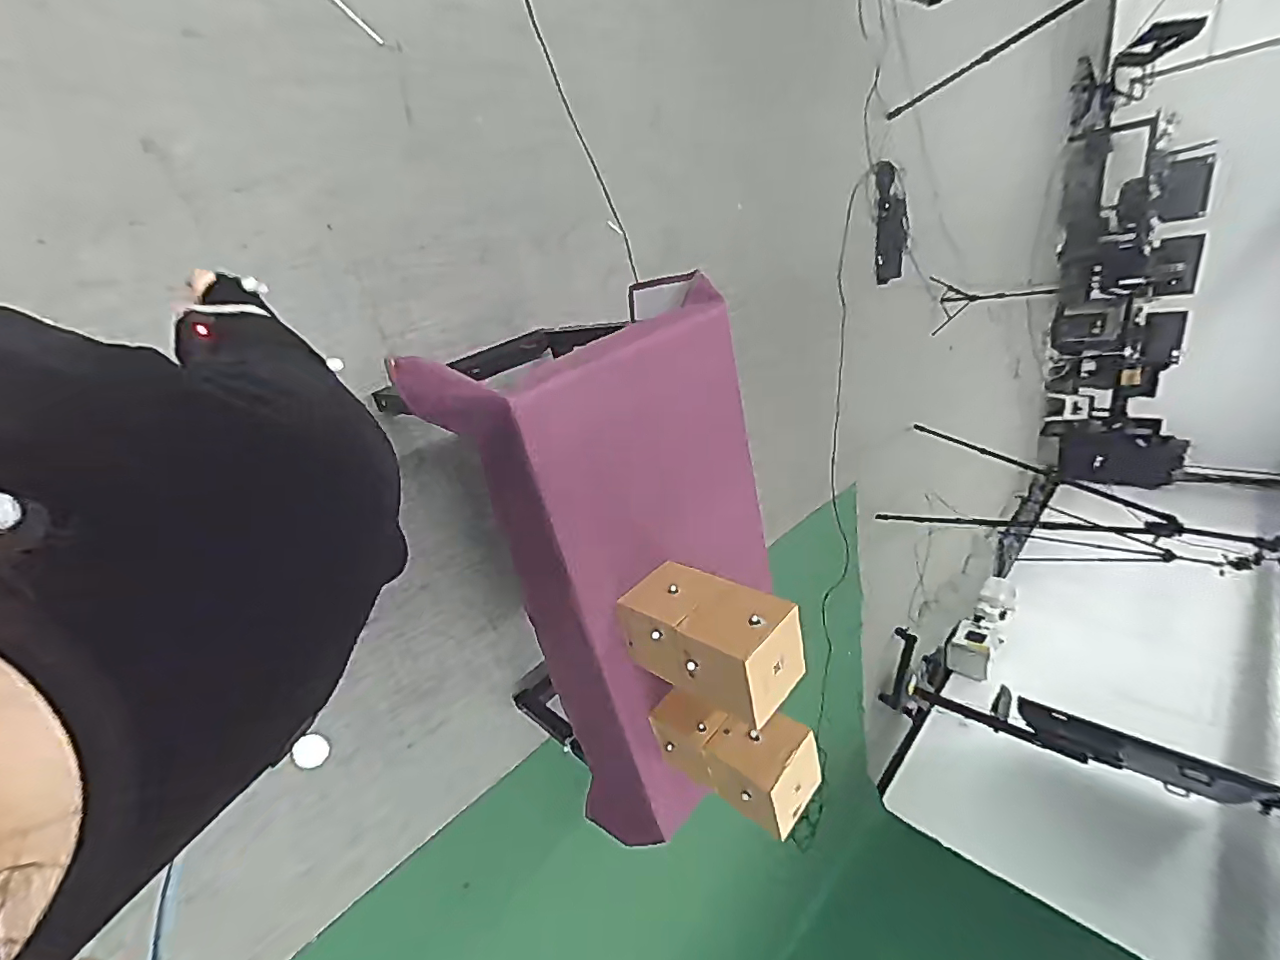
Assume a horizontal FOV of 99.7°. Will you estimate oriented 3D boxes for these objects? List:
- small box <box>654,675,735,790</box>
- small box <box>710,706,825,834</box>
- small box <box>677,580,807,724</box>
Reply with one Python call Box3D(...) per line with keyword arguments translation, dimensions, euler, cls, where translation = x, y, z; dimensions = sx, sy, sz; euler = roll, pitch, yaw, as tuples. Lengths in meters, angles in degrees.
Box3D(translation=(0.162, 0.577, 1.287), dimensions=(0.179, 0.176, 0.168), euler=(-35, 121, -33), cls="small box")
Box3D(translation=(0.274, 0.603, 1.168), dimensions=(0.168, 0.176, 0.179), euler=(-36, 121, -33), cls="small box")
Box3D(translation=(0.197, 0.315, 1.034), dimensions=(0.179, 0.176, 0.168), euler=(-31, 118, -37), cls="small box")
